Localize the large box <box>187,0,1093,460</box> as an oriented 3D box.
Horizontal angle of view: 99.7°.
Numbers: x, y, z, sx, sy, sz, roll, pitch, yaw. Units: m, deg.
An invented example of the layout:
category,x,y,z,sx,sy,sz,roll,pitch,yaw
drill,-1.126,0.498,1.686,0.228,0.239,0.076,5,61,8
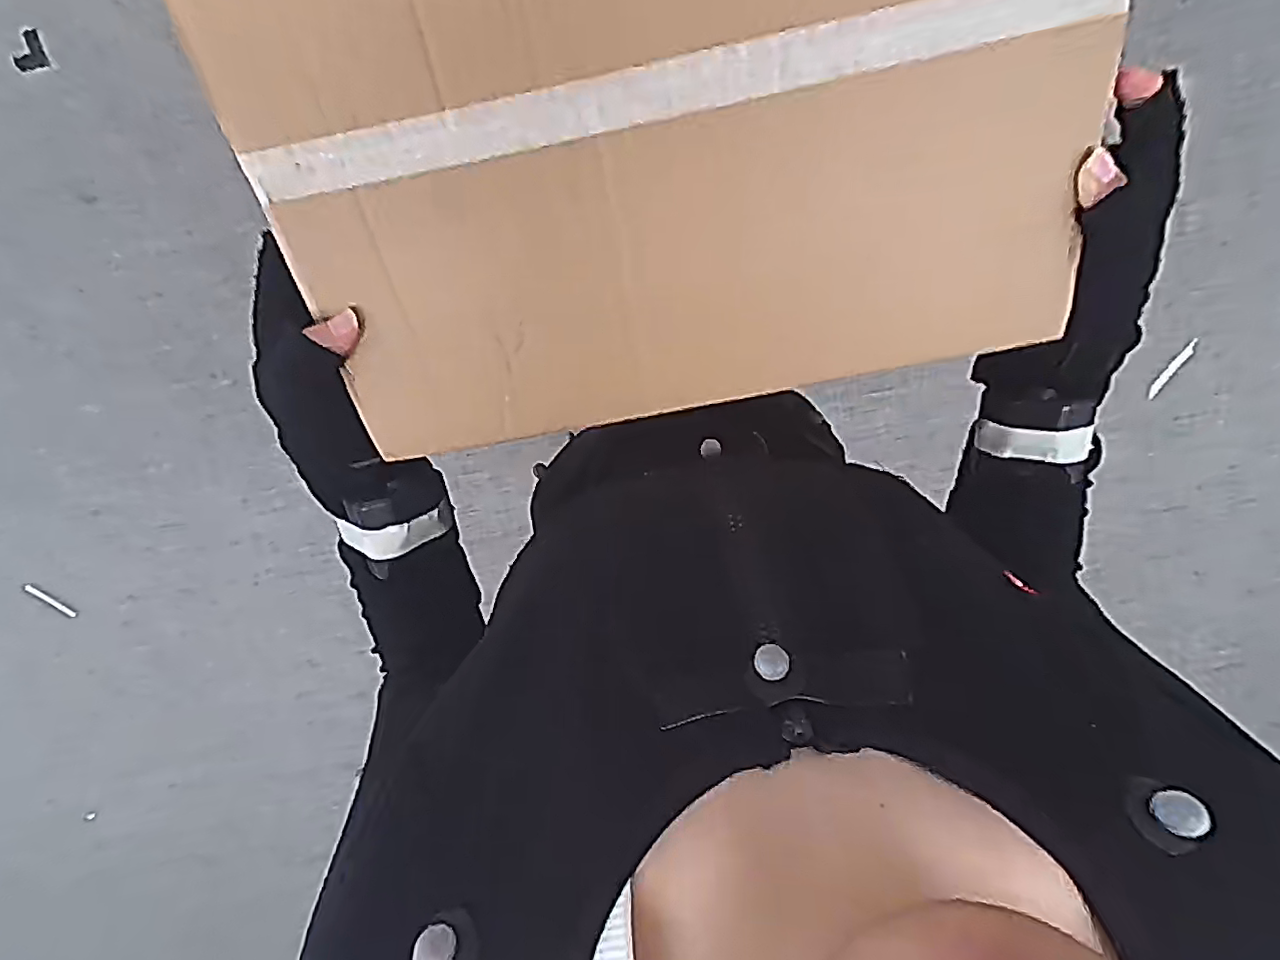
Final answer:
category,x,y,z,sx,sy,sz,roll,pitch,yaw
large box,0.008,-0.251,0.388,0.408,0.320,0.320,-10,118,3
